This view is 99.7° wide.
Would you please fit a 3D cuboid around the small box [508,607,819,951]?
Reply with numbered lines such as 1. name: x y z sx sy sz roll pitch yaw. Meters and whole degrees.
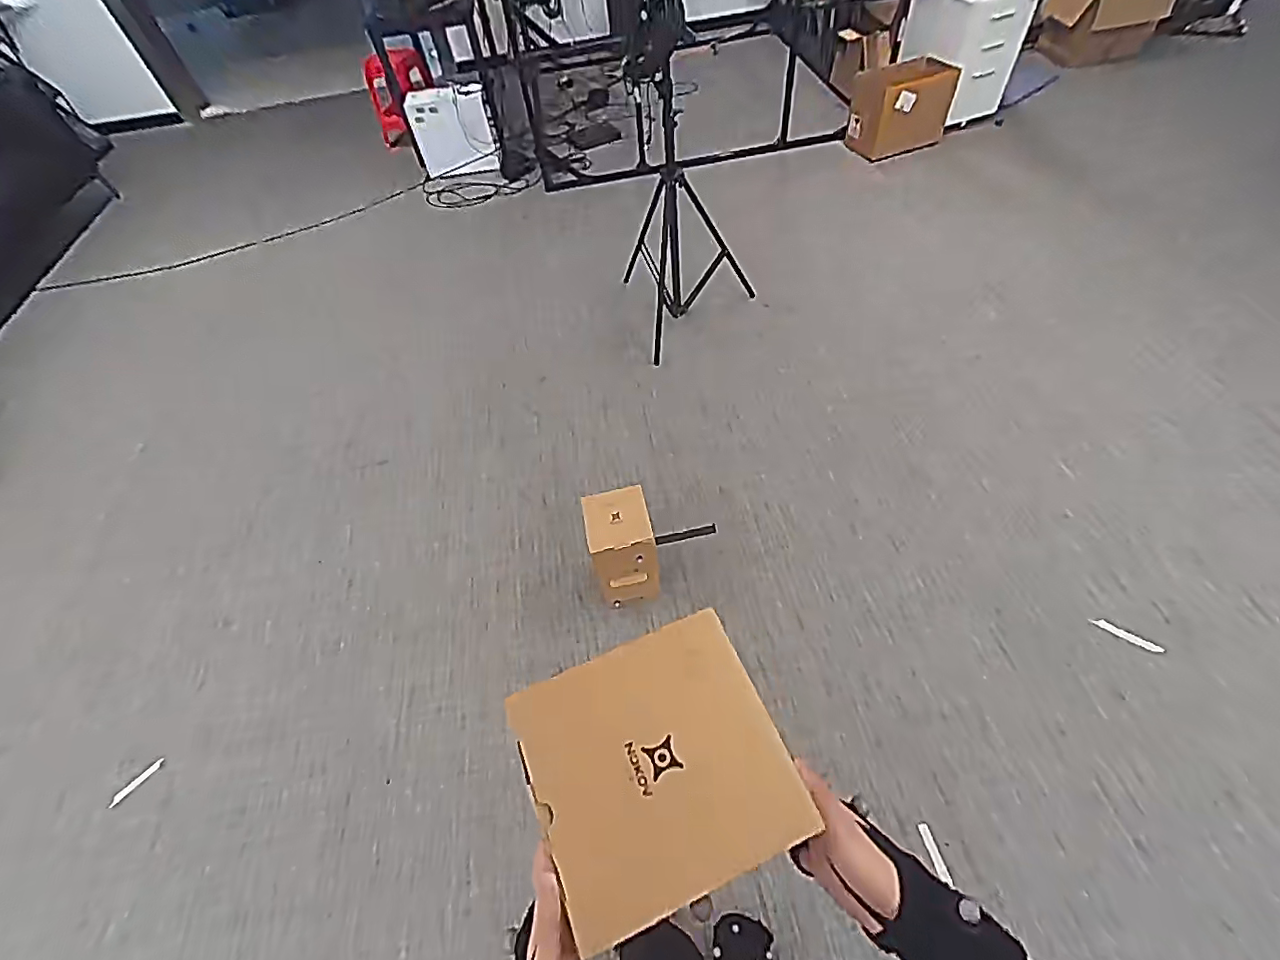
1. small box: 0.013 0.232 0.452 0.179 0.176 0.168 -22 62 -10

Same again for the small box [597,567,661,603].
1. small box: -0.038 0.242 1.574 0.168 0.176 0.179 -12 53 -2

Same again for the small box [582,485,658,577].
1. small box: -0.051 0.145 1.444 0.168 0.176 0.179 -12 53 -3
